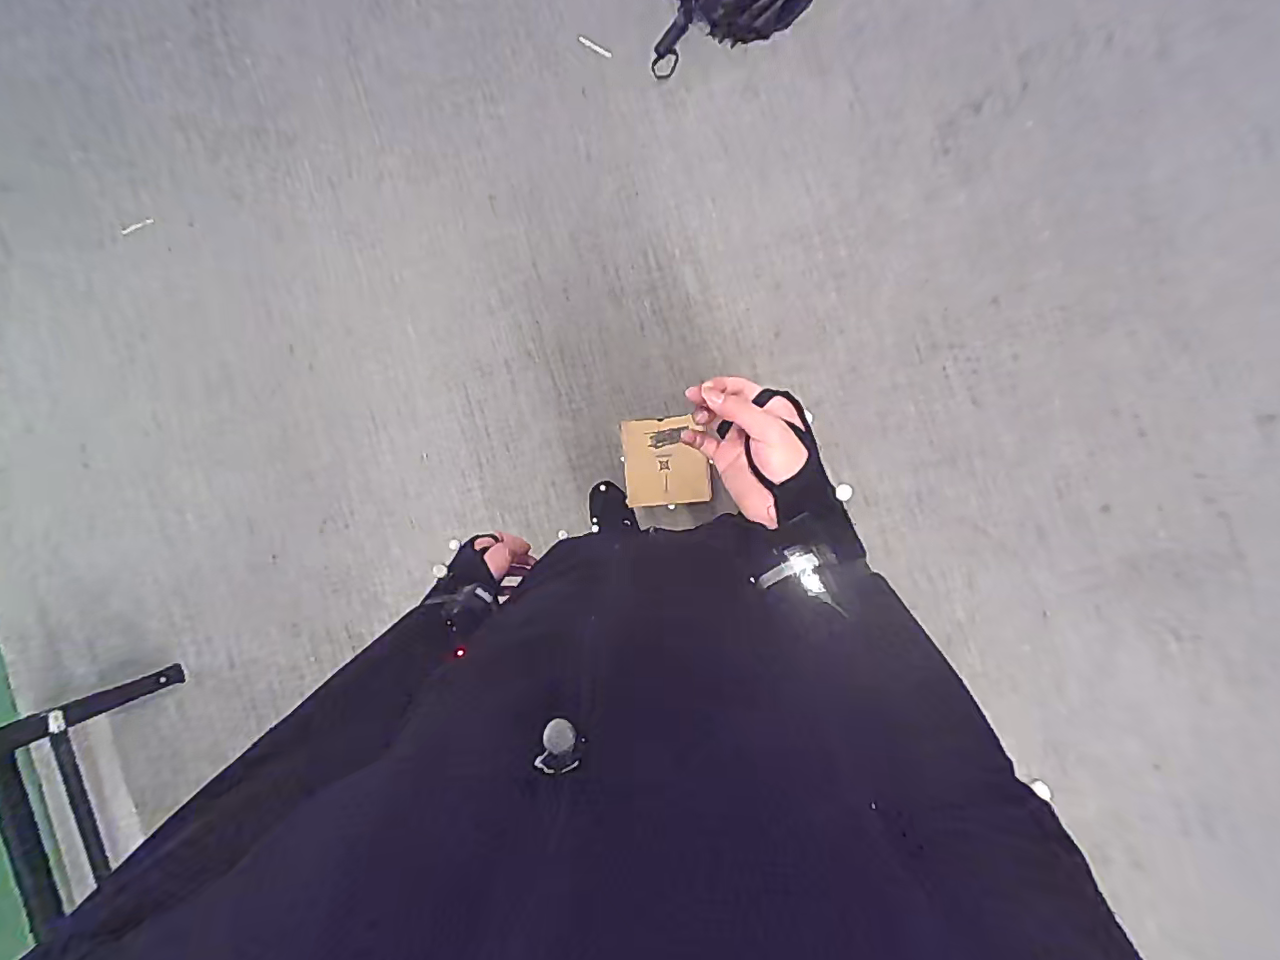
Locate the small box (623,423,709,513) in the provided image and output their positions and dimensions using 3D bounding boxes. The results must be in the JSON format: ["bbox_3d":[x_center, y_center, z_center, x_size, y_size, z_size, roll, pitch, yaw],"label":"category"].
[{"bbox_3d":[0.060,-0.024,1.162,0.168,0.176,0.179,-4,91,9],"label":"small box"}]
